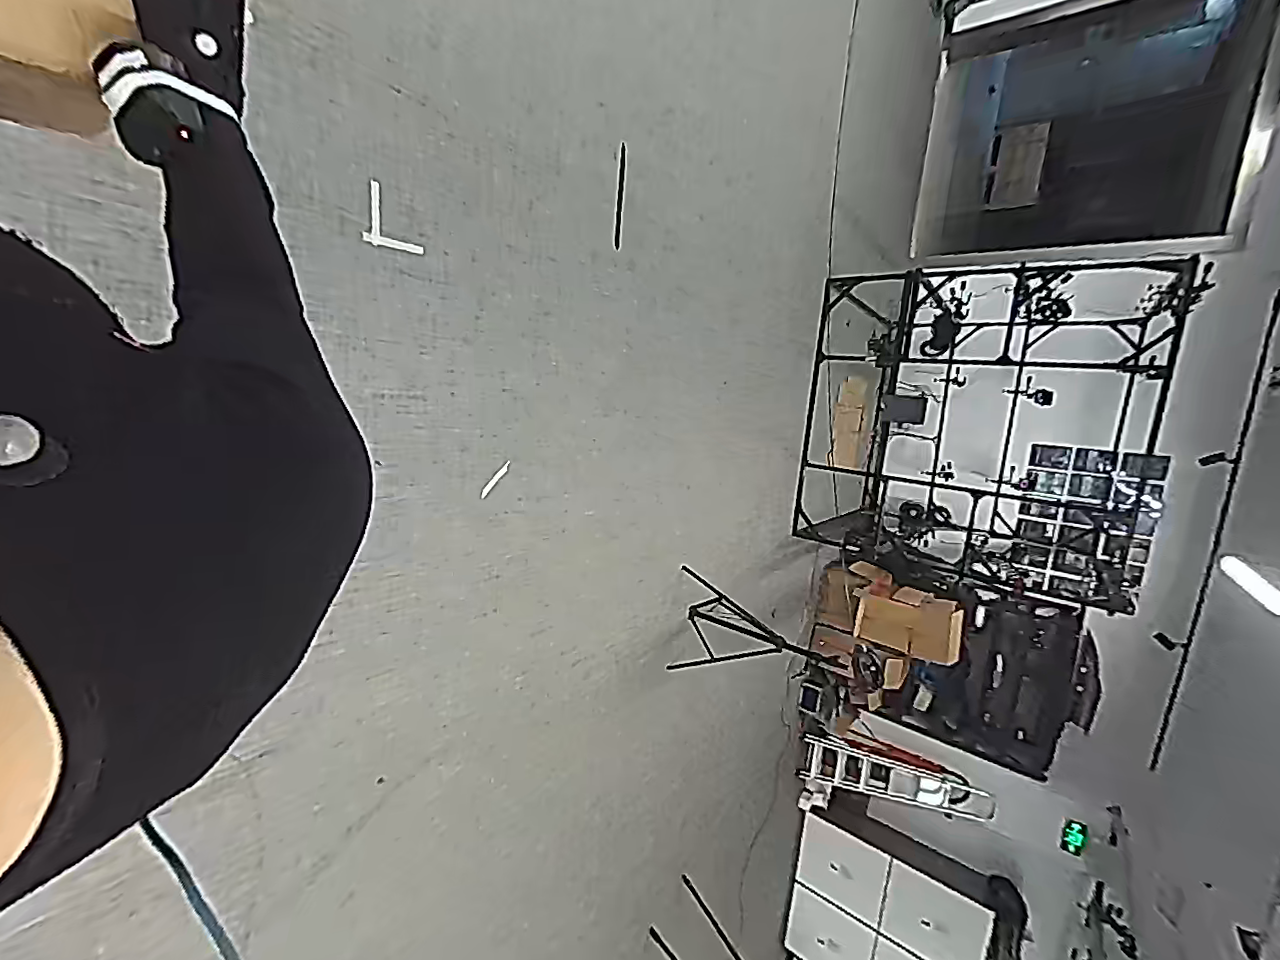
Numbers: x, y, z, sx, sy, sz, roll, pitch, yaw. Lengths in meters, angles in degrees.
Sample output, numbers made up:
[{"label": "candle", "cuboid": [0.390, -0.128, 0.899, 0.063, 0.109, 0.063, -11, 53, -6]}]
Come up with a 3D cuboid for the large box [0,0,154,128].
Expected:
[{"label": "large box", "cuboid": [-0.622, -0.470, 0.335, 0.408, 0.320, 0.320, -14, 117, -50]}]
